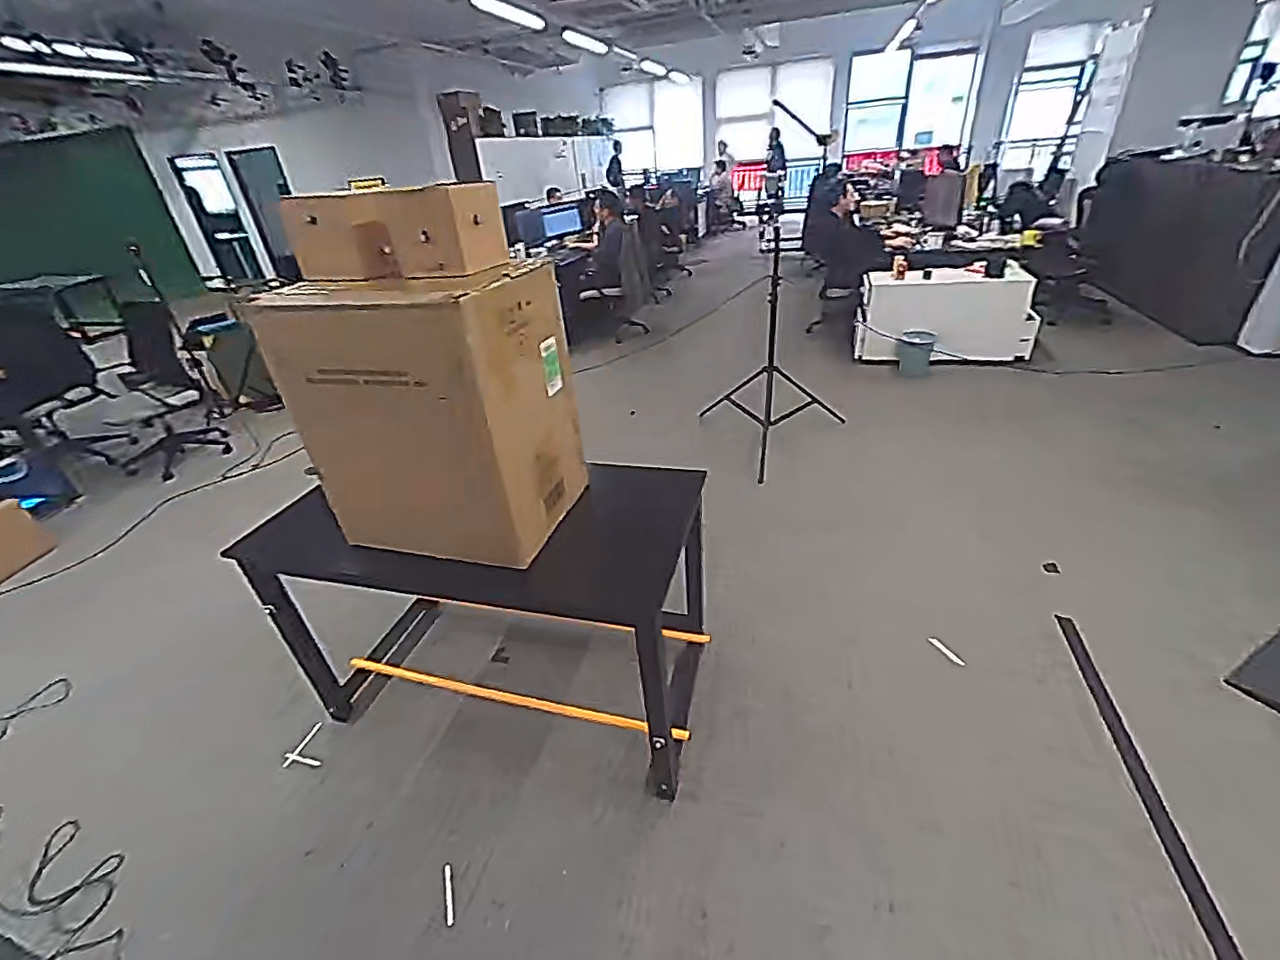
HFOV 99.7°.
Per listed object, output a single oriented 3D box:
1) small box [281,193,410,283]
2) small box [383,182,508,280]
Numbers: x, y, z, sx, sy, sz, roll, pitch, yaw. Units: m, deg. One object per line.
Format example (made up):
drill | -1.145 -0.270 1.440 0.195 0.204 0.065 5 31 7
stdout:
small box | -0.653 -0.547 1.223 0.179 0.176 0.168 6 32 15
small box | -0.403 -0.529 1.157 0.168 0.176 0.179 5 31 18
